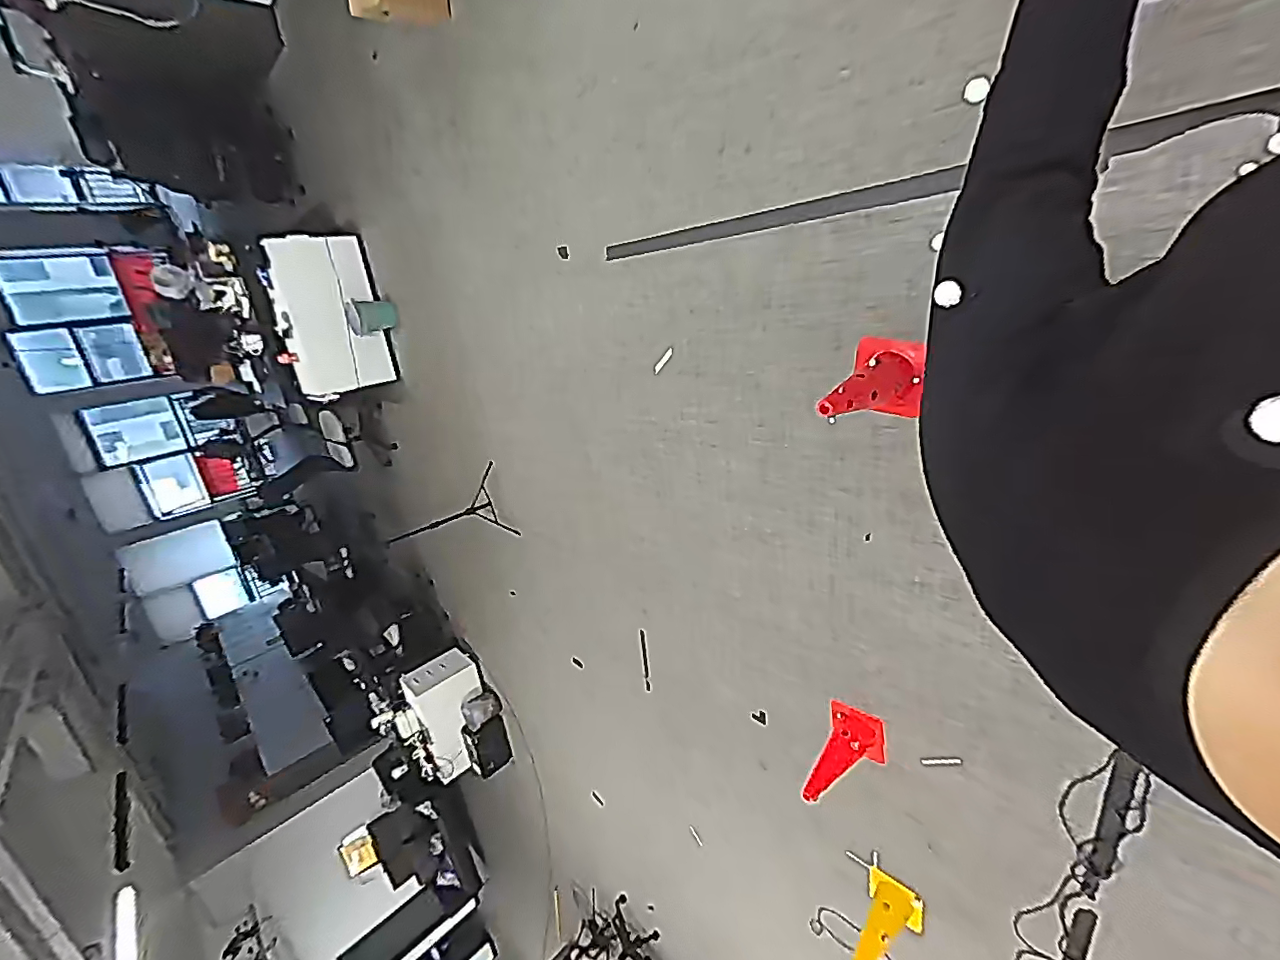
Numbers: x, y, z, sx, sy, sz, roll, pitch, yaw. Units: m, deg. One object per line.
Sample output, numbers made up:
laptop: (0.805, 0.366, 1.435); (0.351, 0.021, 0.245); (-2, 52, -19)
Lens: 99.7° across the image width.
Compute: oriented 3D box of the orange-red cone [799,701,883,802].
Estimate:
orange-red cone: (0.660, 0.971, 1.857); (0.198, 0.360, 0.199); (11, 118, 47)

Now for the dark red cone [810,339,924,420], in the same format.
dark red cone: (0.538, -0.221, 1.351); (0.201, 0.394, 0.202); (20, 123, 41)
